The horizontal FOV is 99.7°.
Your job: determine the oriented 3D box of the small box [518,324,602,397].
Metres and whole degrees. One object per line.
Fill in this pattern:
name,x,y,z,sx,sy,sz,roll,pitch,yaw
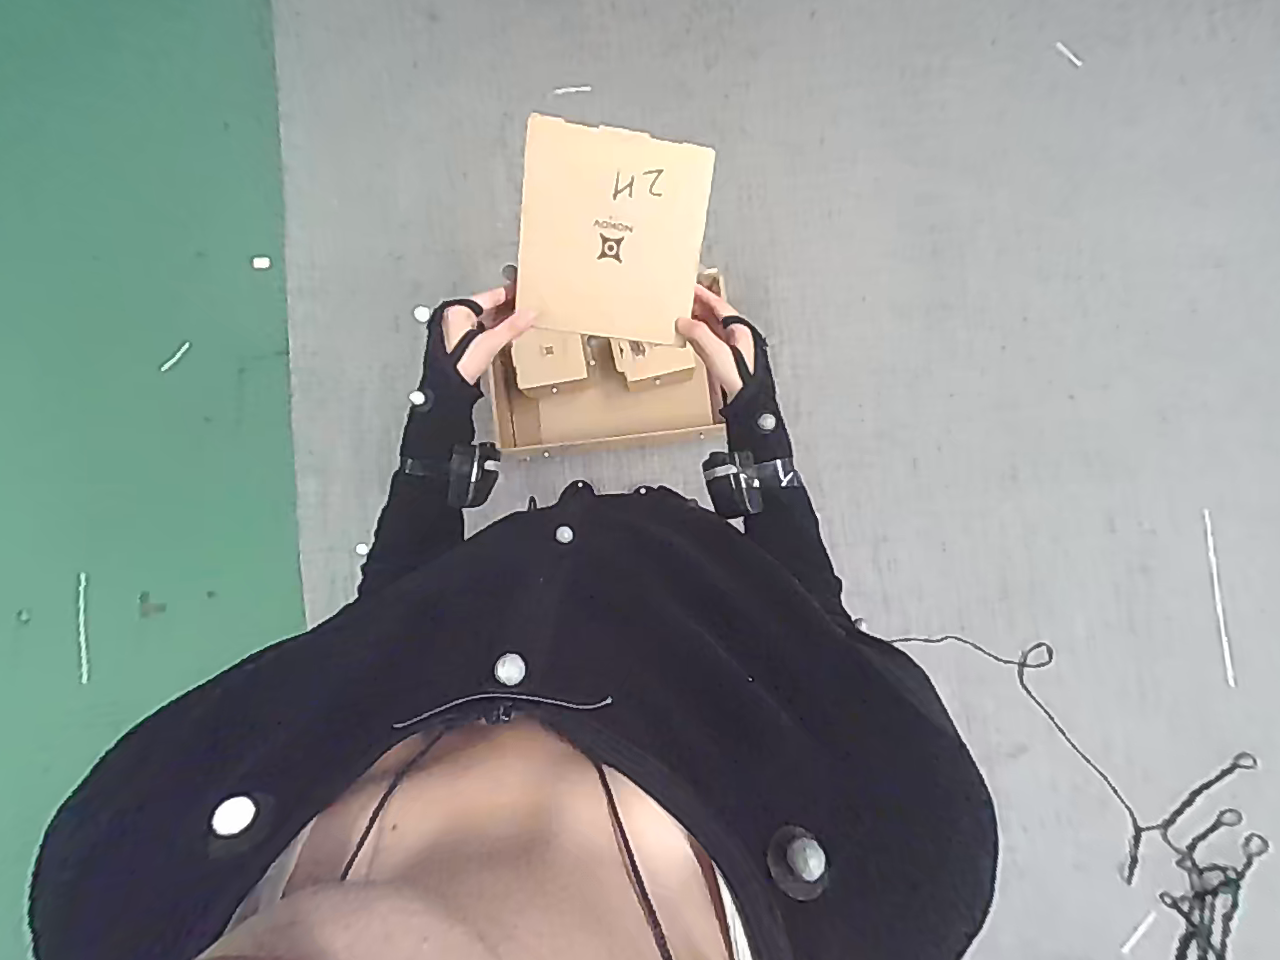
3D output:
small box,-0.204,-0.320,1.416,0.179,0.176,0.168,-9,90,1

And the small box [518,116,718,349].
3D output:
small box,-0.030,-0.242,0.568,0.168,0.176,0.179,6,106,-9

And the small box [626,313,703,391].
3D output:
small box,0.060,-0.340,1.403,0.179,0.176,0.168,-13,89,3
